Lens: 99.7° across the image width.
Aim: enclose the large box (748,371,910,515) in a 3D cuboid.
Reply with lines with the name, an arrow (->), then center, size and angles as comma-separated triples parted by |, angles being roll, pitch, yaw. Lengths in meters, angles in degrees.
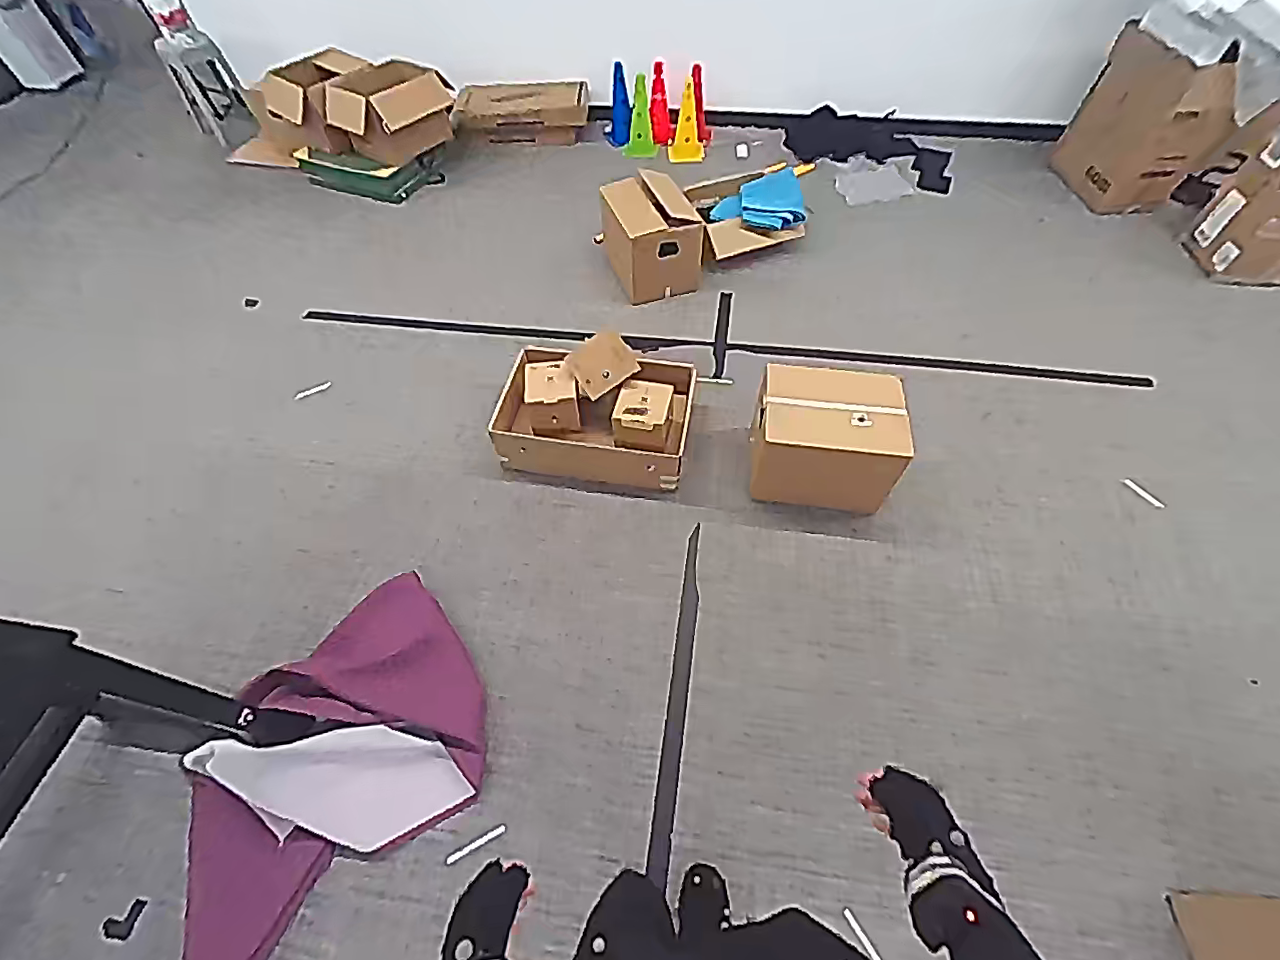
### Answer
large box -> 0.561, -0.111, 1.695 | 0.408, 0.320, 0.320 | 7, 56, 4
